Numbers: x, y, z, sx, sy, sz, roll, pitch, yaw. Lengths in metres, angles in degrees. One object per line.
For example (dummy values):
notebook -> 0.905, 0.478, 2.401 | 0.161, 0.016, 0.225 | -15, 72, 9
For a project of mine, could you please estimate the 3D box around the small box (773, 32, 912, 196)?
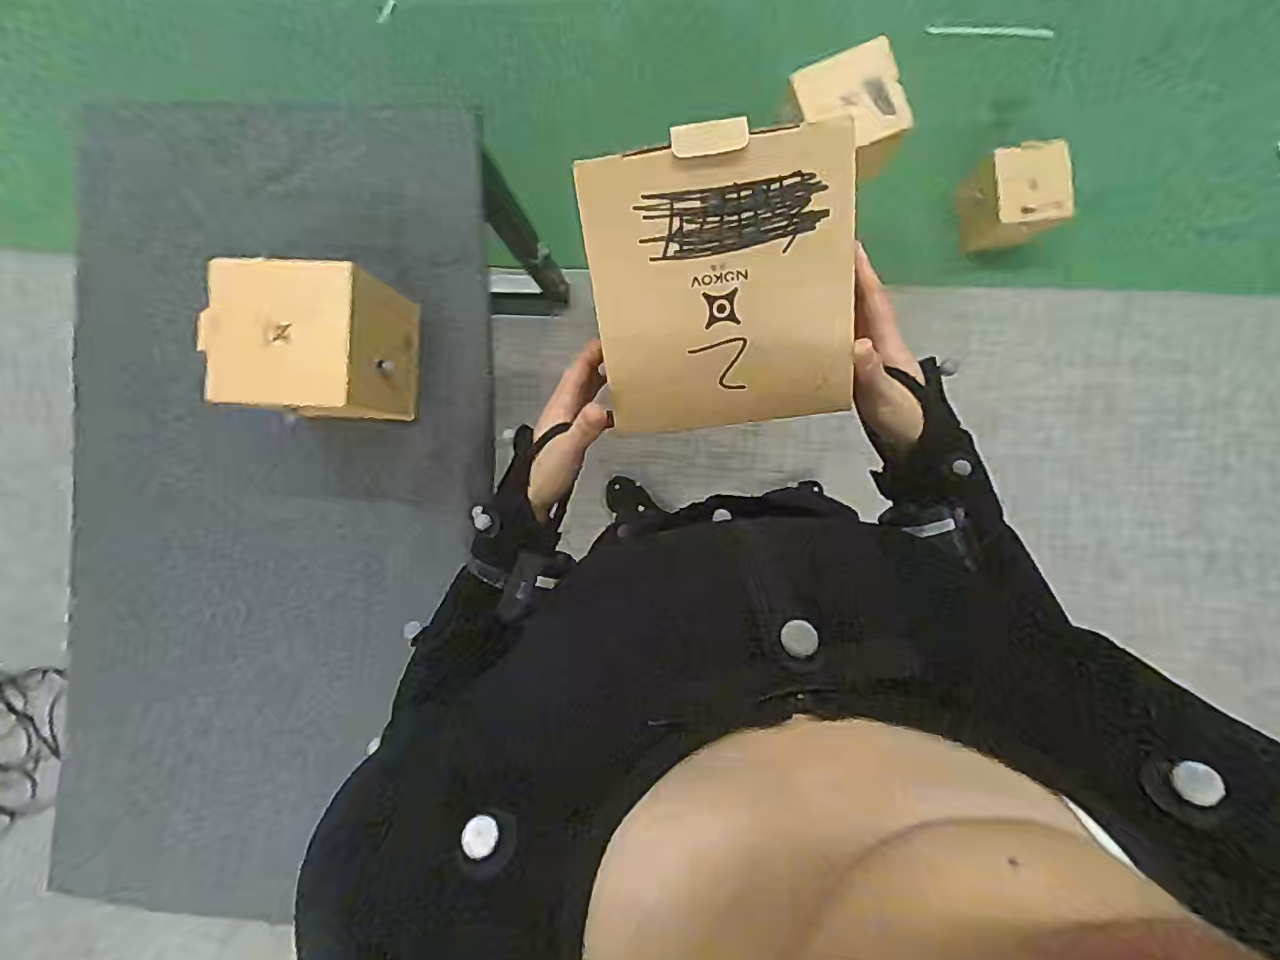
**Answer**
small box -> 0.373, -0.679, 1.025 | 0.179, 0.176, 0.168 | -20, 92, 5

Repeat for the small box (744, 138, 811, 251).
small box -> 0.368, -0.702, 1.351 | 0.168, 0.176, 0.179 | 19, 93, 1

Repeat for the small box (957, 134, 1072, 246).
small box -> 0.904, -0.701, 1.321 | 0.168, 0.176, 0.179 | -6, 91, 3

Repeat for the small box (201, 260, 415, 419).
small box -> -0.407, -0.167, 0.690 | 0.179, 0.176, 0.168 | 3, 93, 5

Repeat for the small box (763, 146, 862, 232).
small box -> 0.391, -0.686, 1.189 | 0.168, 0.176, 0.179 | 40, 93, -1
